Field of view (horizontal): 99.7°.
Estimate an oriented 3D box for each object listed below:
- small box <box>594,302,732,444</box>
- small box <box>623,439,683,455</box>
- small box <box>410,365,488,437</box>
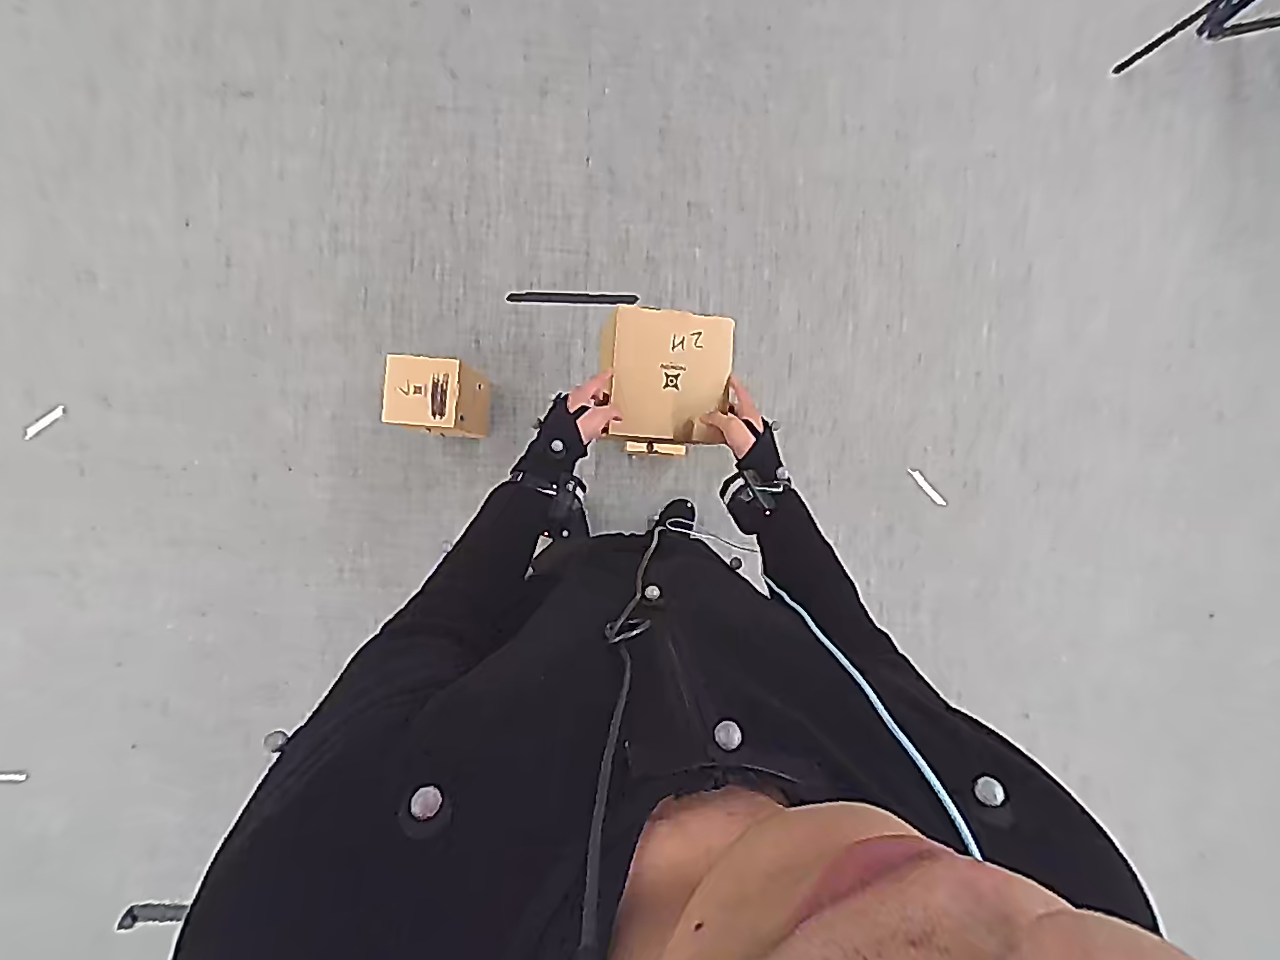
[{"bbox_3d":[0.024,-0.145,0.801,0.168,0.176,0.179,4,92,-12],"label":"small box"},{"bbox_3d":[0.039,-0.166,1.559,0.168,0.176,0.179,5,89,-4],"label":"small box"},{"bbox_3d":[-0.532,-0.216,1.526,0.168,0.176,0.179,3,89,-3],"label":"small box"}]
